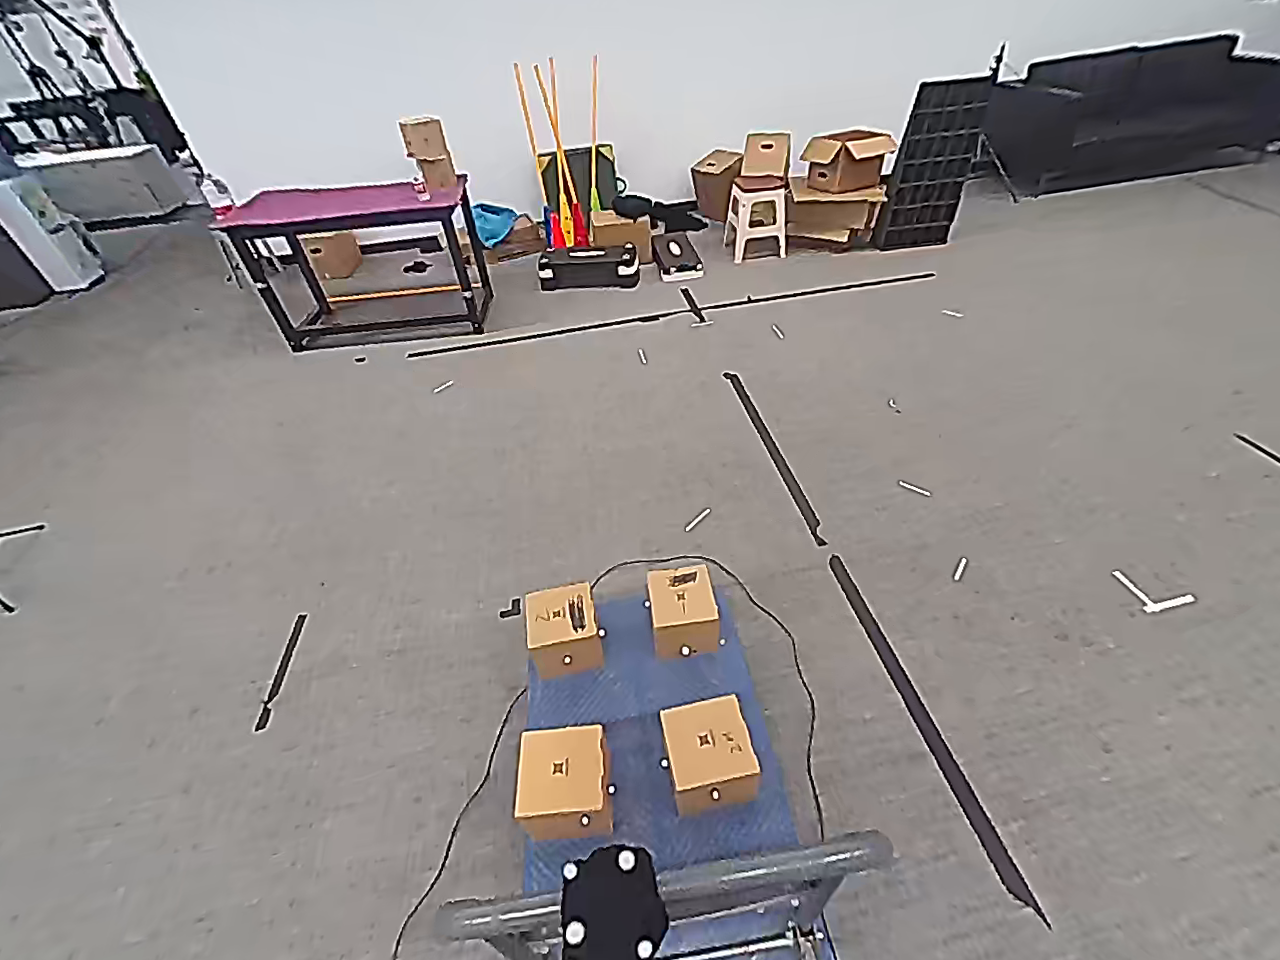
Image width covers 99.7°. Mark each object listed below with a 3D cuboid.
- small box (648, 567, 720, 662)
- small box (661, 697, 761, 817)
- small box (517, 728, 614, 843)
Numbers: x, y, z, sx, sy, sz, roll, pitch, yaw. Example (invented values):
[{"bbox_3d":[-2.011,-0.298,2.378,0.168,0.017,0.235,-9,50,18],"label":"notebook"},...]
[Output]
[{"bbox_3d":[0.114,0.361,1.455,0.168,0.176,0.179,-8,43,-2],"label":"small box"},{"bbox_3d":[0.152,0.607,1.180,0.179,0.176,0.168,-11,43,-5],"label":"small box"},{"bbox_3d":[-0.153,0.658,1.160,0.179,0.176,0.168,-6,42,-2],"label":"small box"}]
